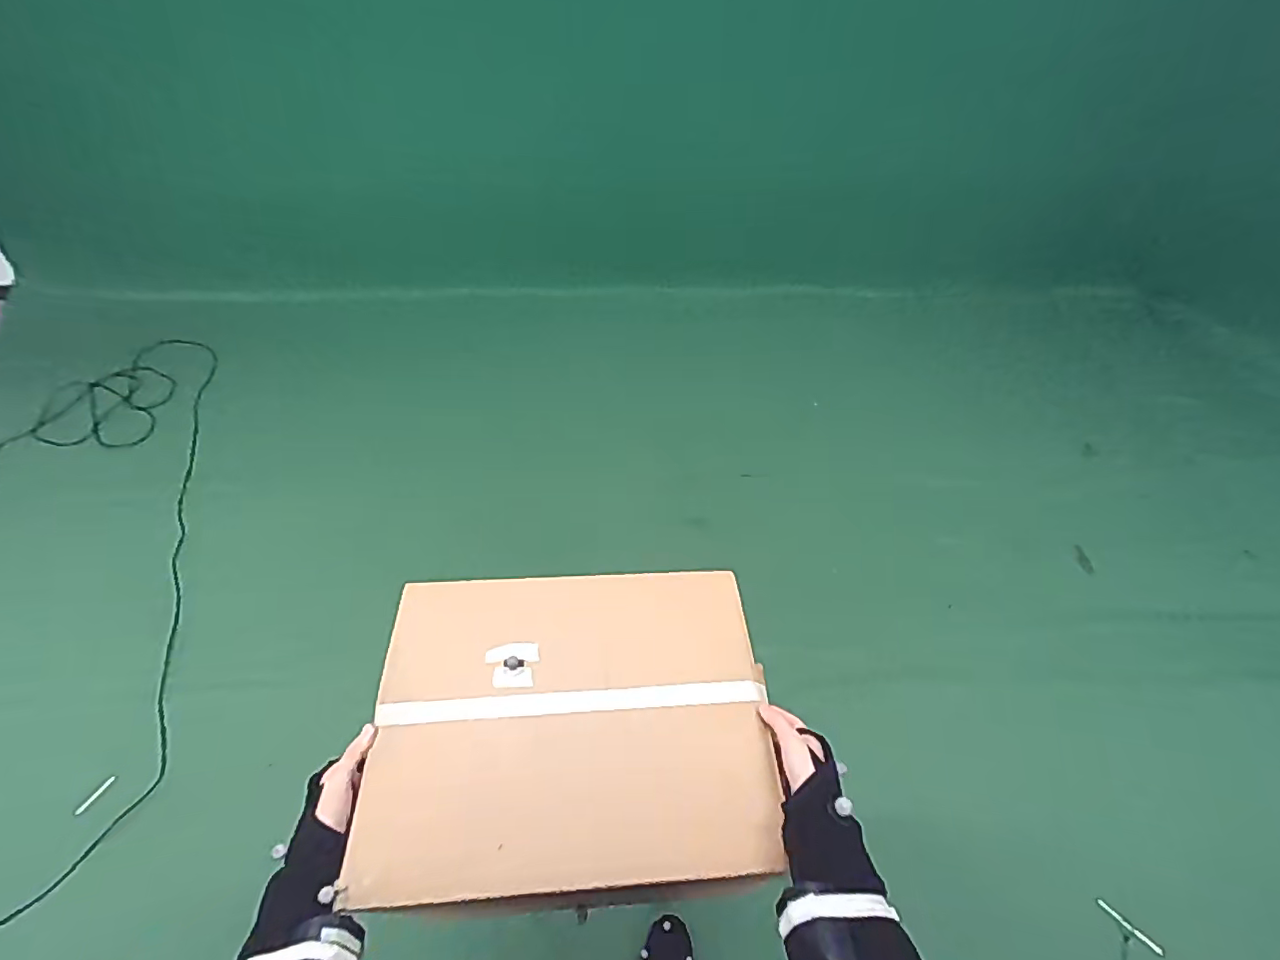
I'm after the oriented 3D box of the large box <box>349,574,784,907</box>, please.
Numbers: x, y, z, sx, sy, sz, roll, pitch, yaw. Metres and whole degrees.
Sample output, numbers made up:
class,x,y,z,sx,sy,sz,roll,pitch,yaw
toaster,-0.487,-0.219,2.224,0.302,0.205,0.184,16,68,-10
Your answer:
class,x,y,z,sx,sy,sz,roll,pitch,yaw
large box,-0.076,0.339,0.699,0.408,0.320,0.320,-1,50,-4
